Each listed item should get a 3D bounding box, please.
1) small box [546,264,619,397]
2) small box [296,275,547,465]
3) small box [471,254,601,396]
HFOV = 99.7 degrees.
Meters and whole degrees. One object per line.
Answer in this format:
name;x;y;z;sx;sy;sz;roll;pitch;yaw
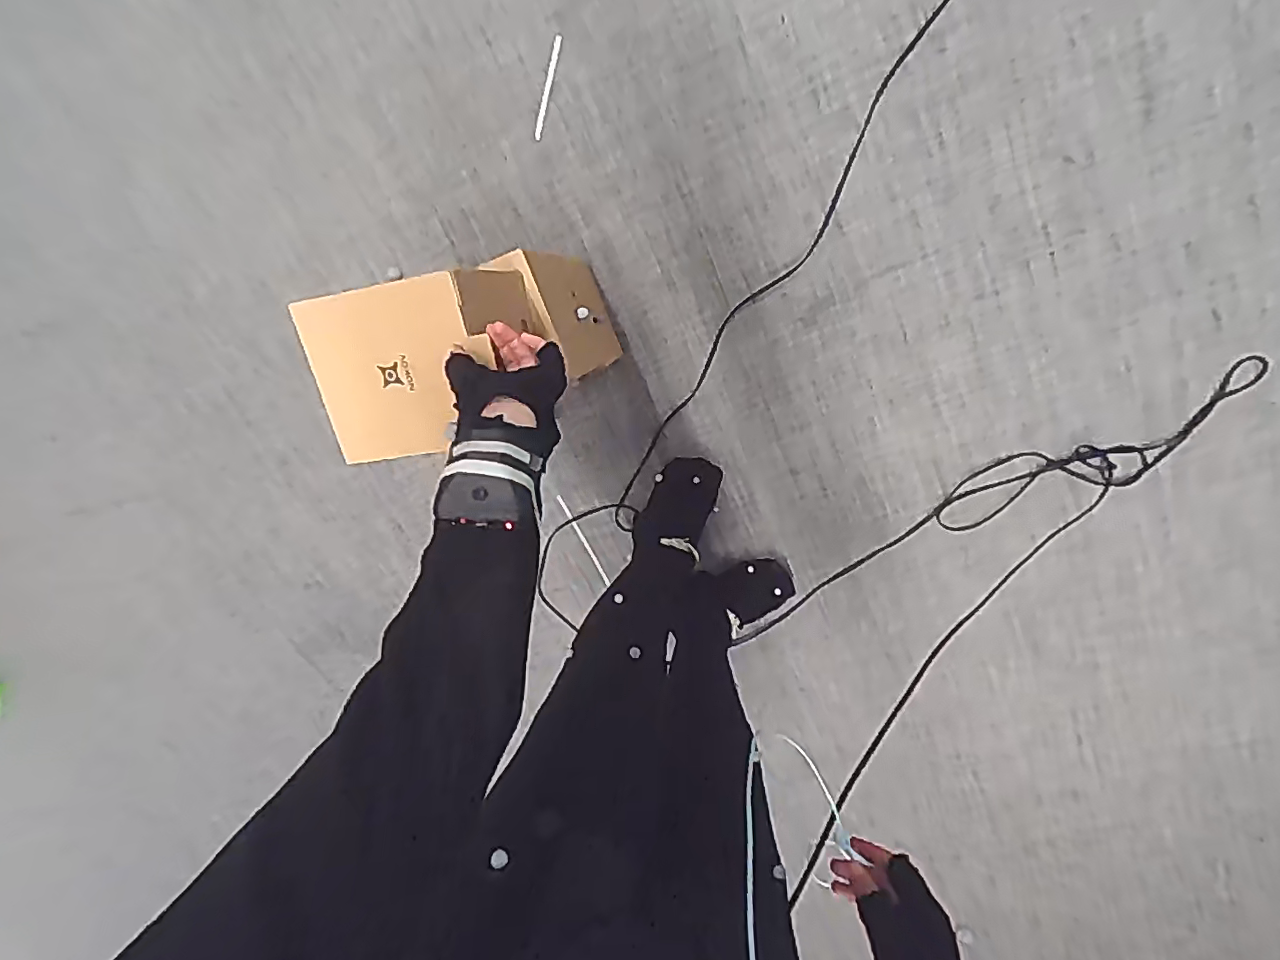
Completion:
small box;-0.147;-0.245;0.897;0.168;0.176;0.179;-18;107;15
small box;-0.223;-0.125;0.600;0.179;0.176;0.168;-6;109;11
small box;-0.174;-0.193;0.743;0.179;0.176;0.168;-17;107;14
